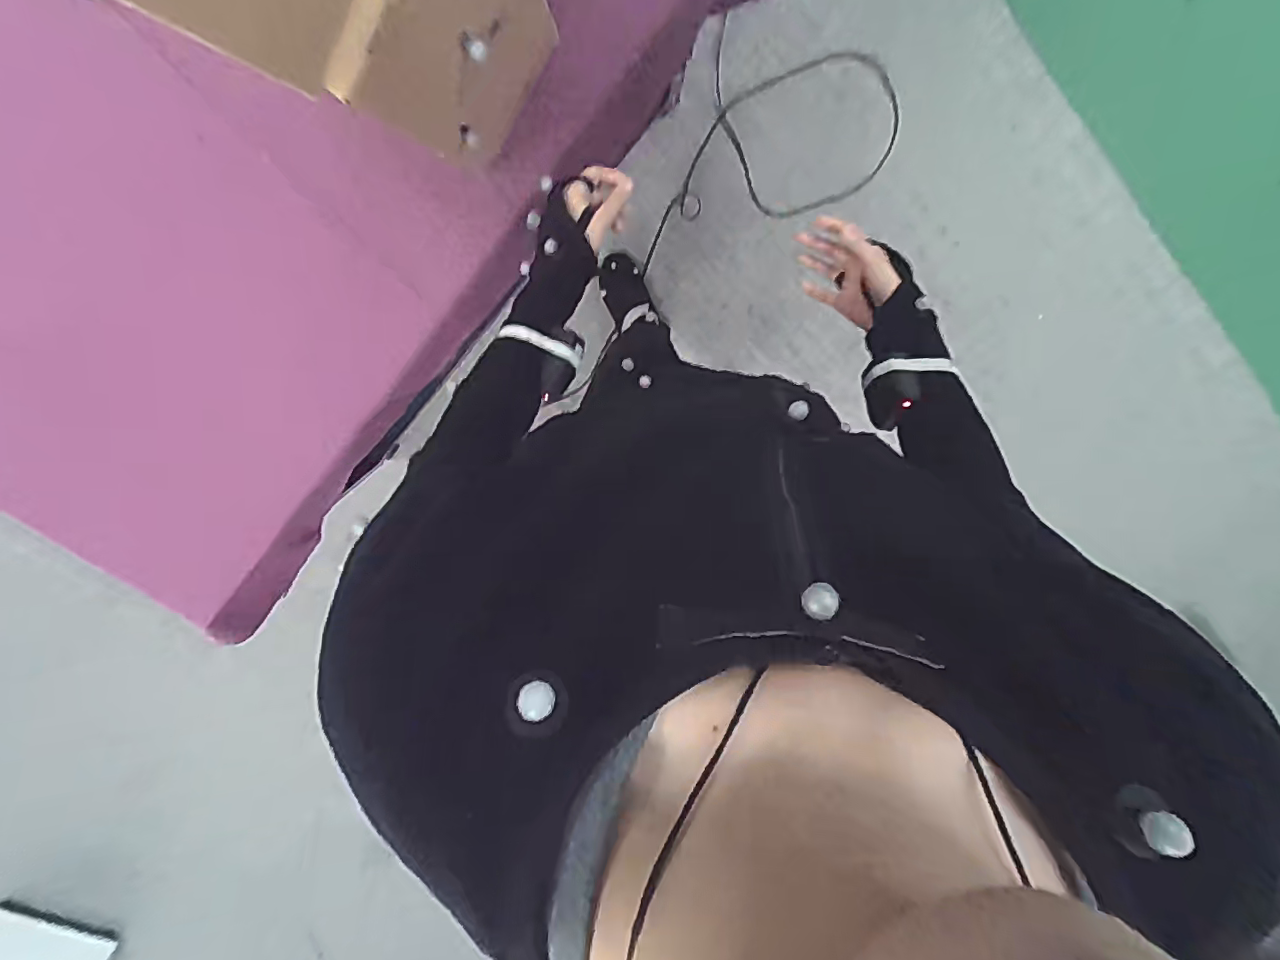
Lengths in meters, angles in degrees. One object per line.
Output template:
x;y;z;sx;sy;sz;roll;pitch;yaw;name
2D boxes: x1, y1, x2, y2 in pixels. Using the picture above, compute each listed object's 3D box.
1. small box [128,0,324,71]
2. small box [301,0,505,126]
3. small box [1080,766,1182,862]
-0.219;-0.309;0.198;0.168;0.176;0.179;32;110;-11;small box
-0.204;-0.371;0.350;0.179;0.176;0.168;34;109;-13;small box
1.551;1.046;1.702;0.179;0.176;0.168;-33;108;12;small box
